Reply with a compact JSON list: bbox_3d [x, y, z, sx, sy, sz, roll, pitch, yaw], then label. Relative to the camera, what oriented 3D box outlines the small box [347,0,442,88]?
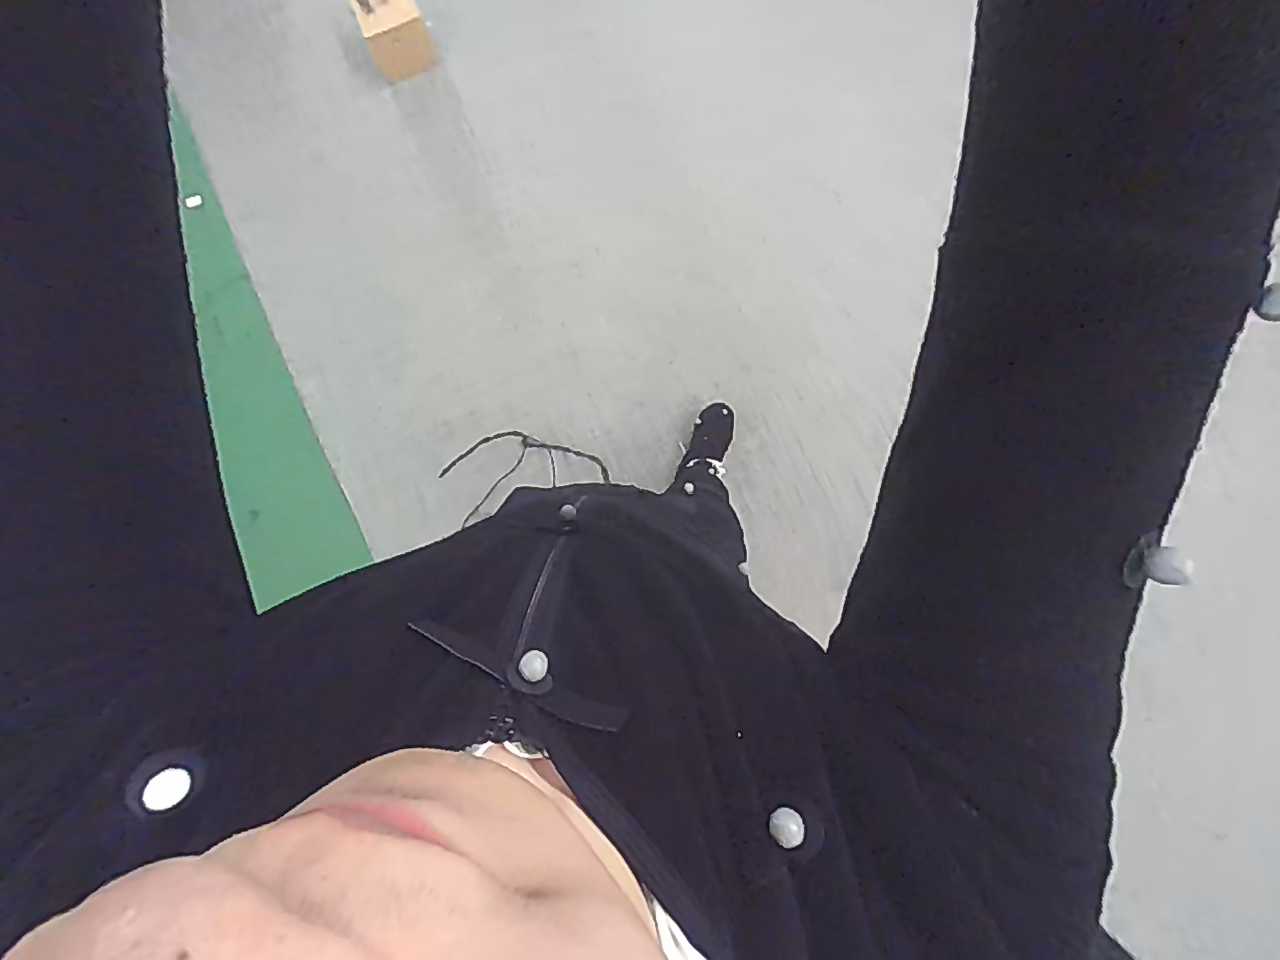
[{"bbox_3d":[-0.718,-1.315,1.598,0.179,0.176,0.168,-24,89,-2],"label":"small box"}]
